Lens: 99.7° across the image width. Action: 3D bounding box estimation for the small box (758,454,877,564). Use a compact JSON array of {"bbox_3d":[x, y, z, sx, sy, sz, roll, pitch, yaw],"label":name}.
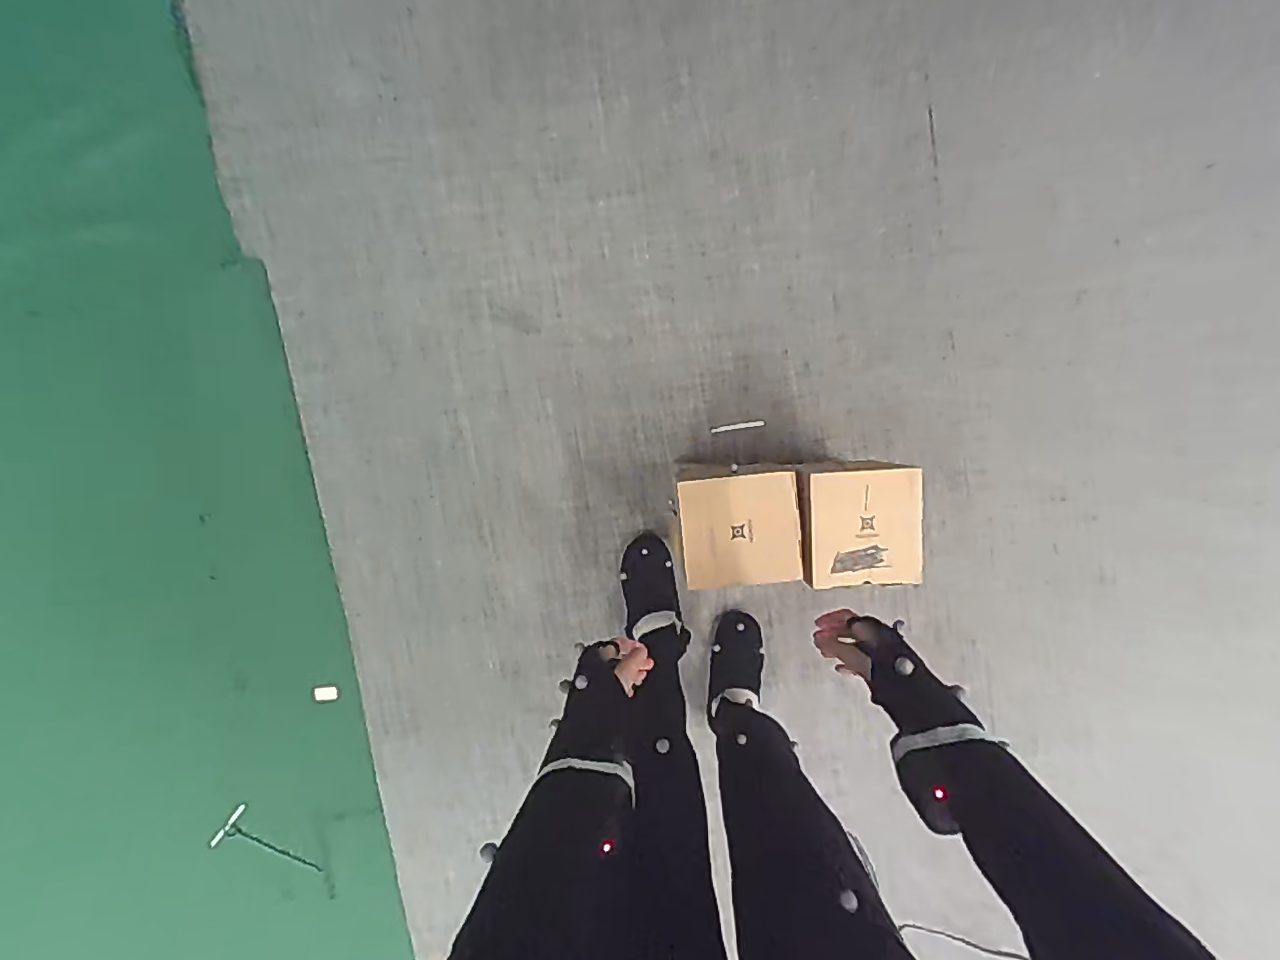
[{"bbox_3d":[0.331,0.046,1.035,0.168,0.176,0.179,-8,97,1],"label":"small box"}]
